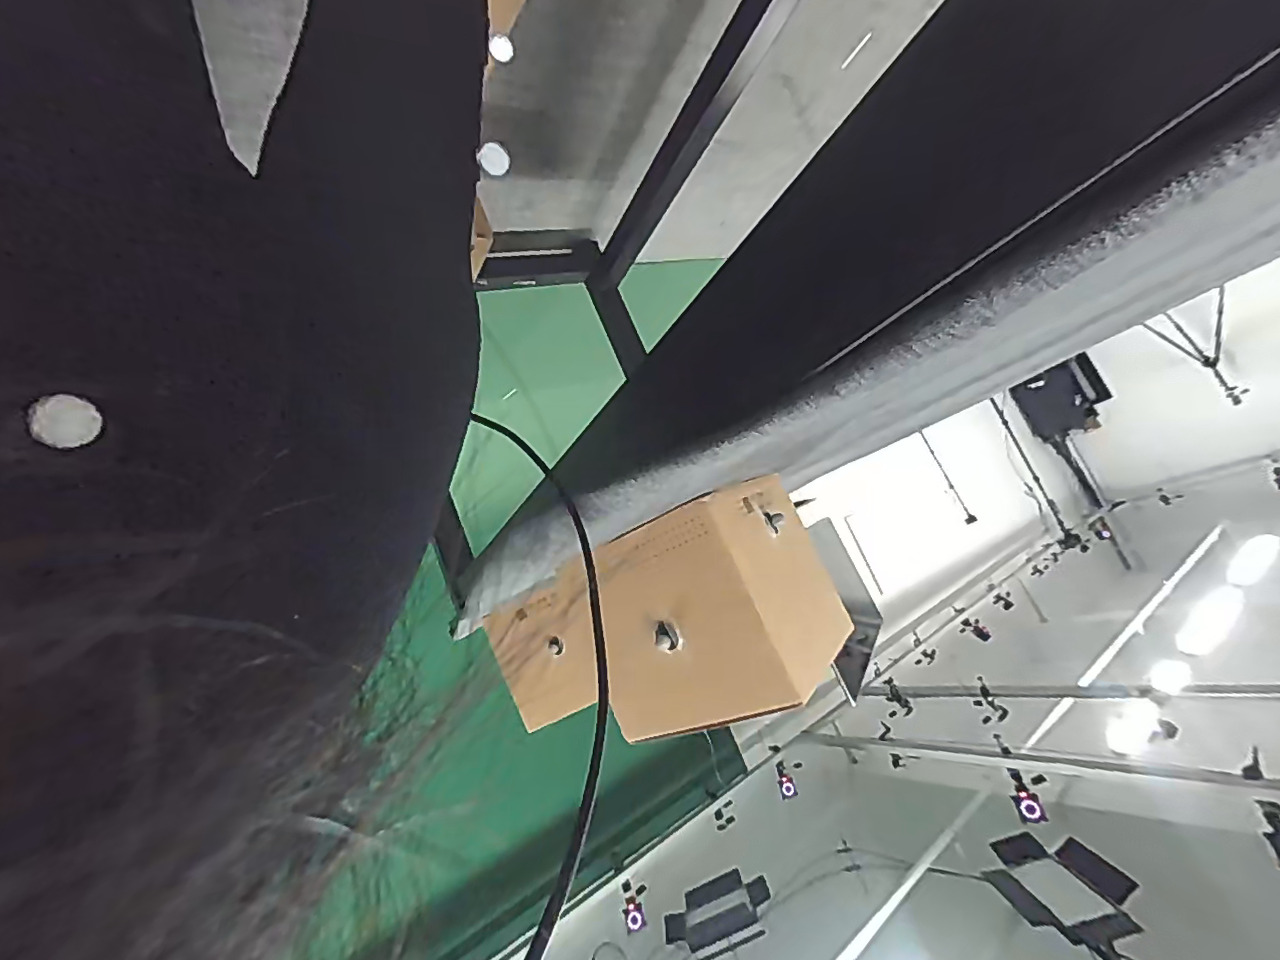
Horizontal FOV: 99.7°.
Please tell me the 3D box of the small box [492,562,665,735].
[{"bbox_3d":[-0.086,0.232,0.791,0.168,0.176,0.179,-28,170,11],"label":"small box"}]
